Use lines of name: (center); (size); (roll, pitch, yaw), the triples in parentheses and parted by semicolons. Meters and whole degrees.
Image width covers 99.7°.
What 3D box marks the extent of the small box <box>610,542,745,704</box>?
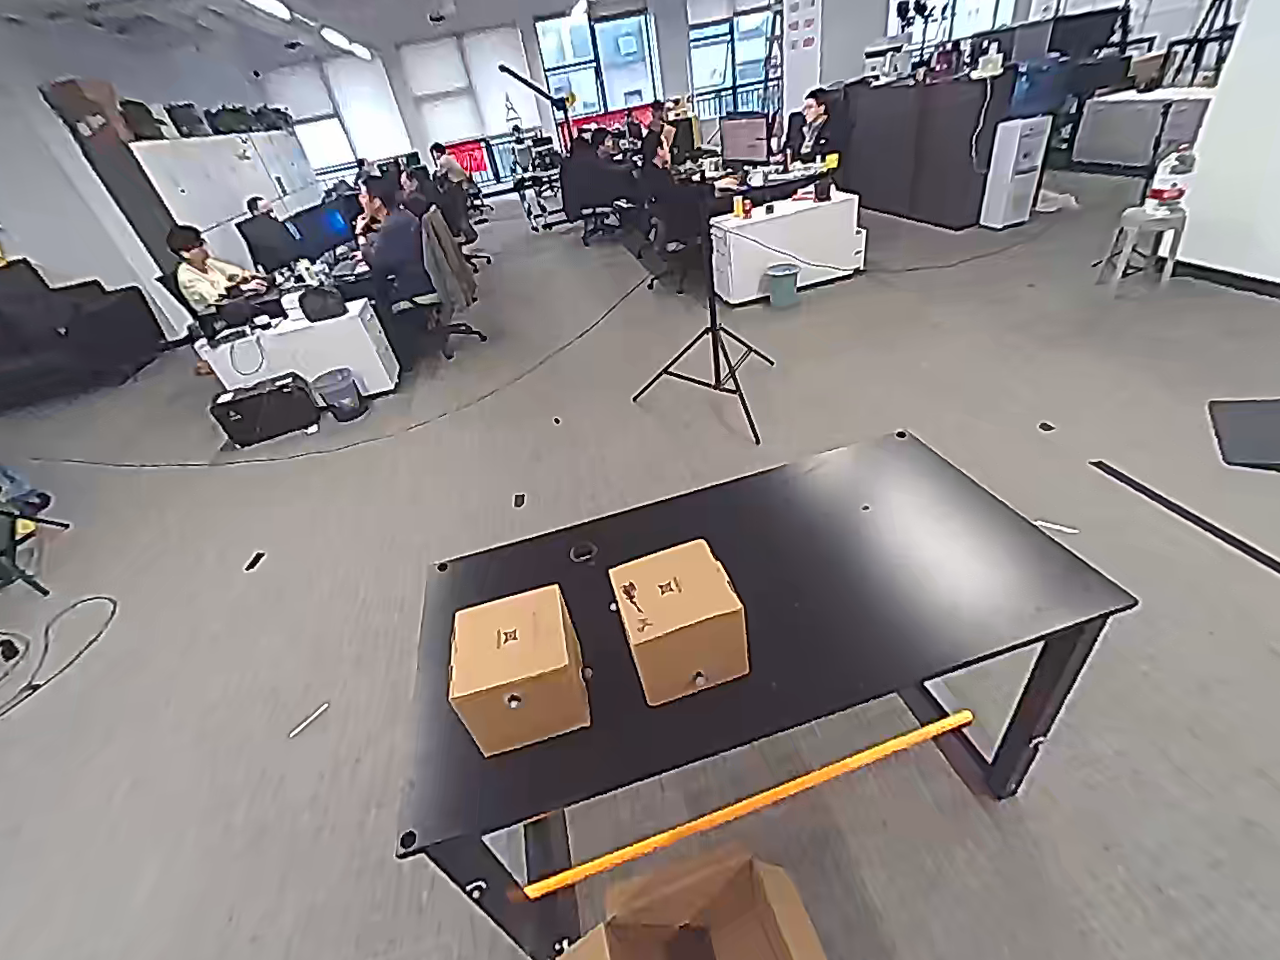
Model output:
small box: (0.062, 0.236, 0.896); (0.179, 0.176, 0.168); (-16, 36, -7)

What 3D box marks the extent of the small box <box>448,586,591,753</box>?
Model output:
small box: (-0.190, 0.305, 0.871); (0.179, 0.176, 0.168); (-15, 37, -6)
